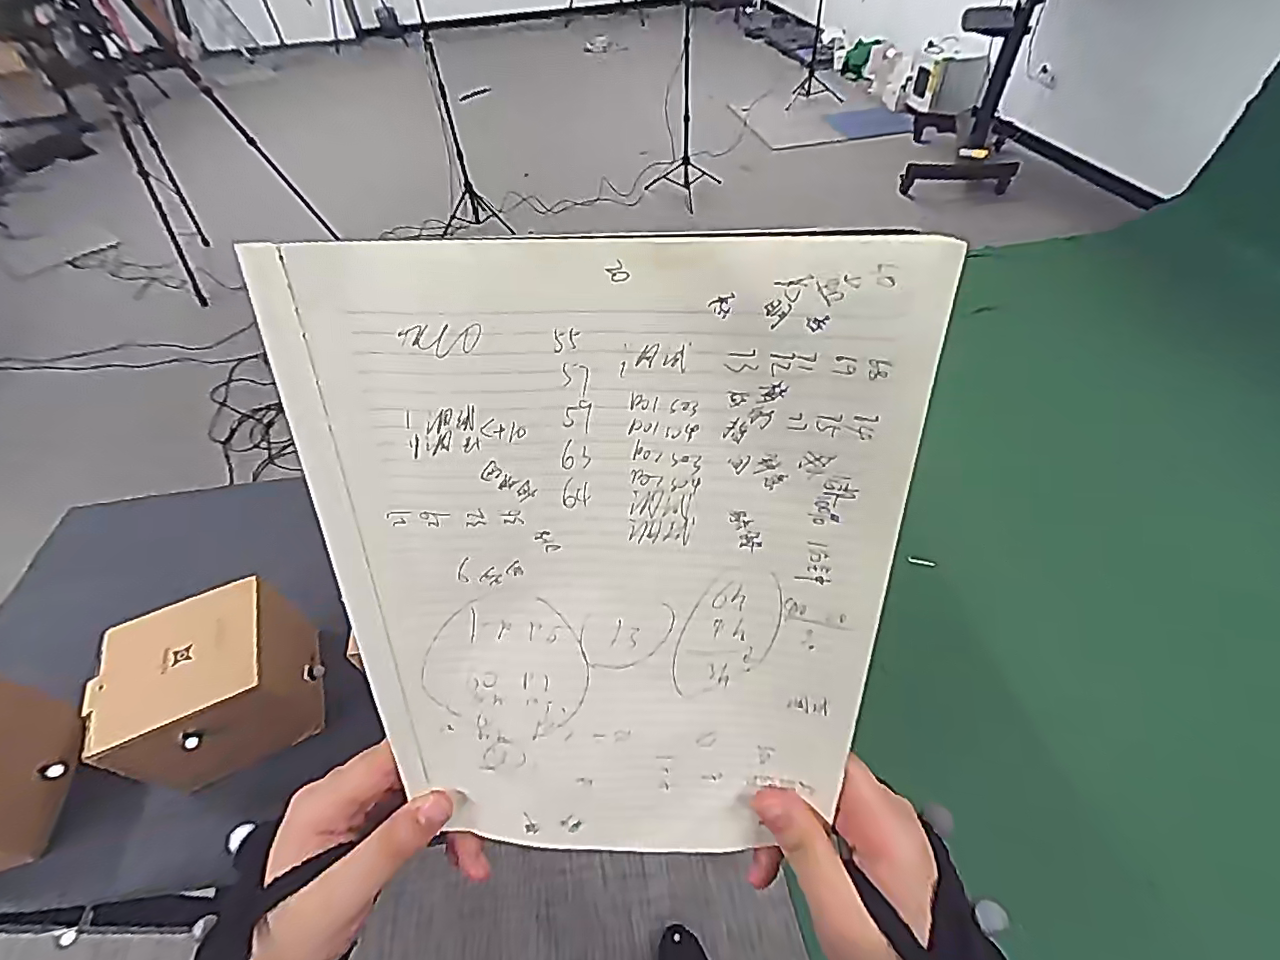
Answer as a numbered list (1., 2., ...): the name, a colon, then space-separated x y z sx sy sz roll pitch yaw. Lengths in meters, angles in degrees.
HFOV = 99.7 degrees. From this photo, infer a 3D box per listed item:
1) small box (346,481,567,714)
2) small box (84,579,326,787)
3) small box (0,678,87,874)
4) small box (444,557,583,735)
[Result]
1. small box: -0.177 0.128 0.578 0.179 0.176 0.168 -11 49 -5
2. small box: -0.543 0.266 0.702 0.179 0.176 0.168 -22 52 -15
3. small box: -0.823 0.363 0.635 0.168 0.176 0.179 -14 50 -8
4. small box: -0.175 0.216 0.717 0.168 0.176 0.179 1 50 6
